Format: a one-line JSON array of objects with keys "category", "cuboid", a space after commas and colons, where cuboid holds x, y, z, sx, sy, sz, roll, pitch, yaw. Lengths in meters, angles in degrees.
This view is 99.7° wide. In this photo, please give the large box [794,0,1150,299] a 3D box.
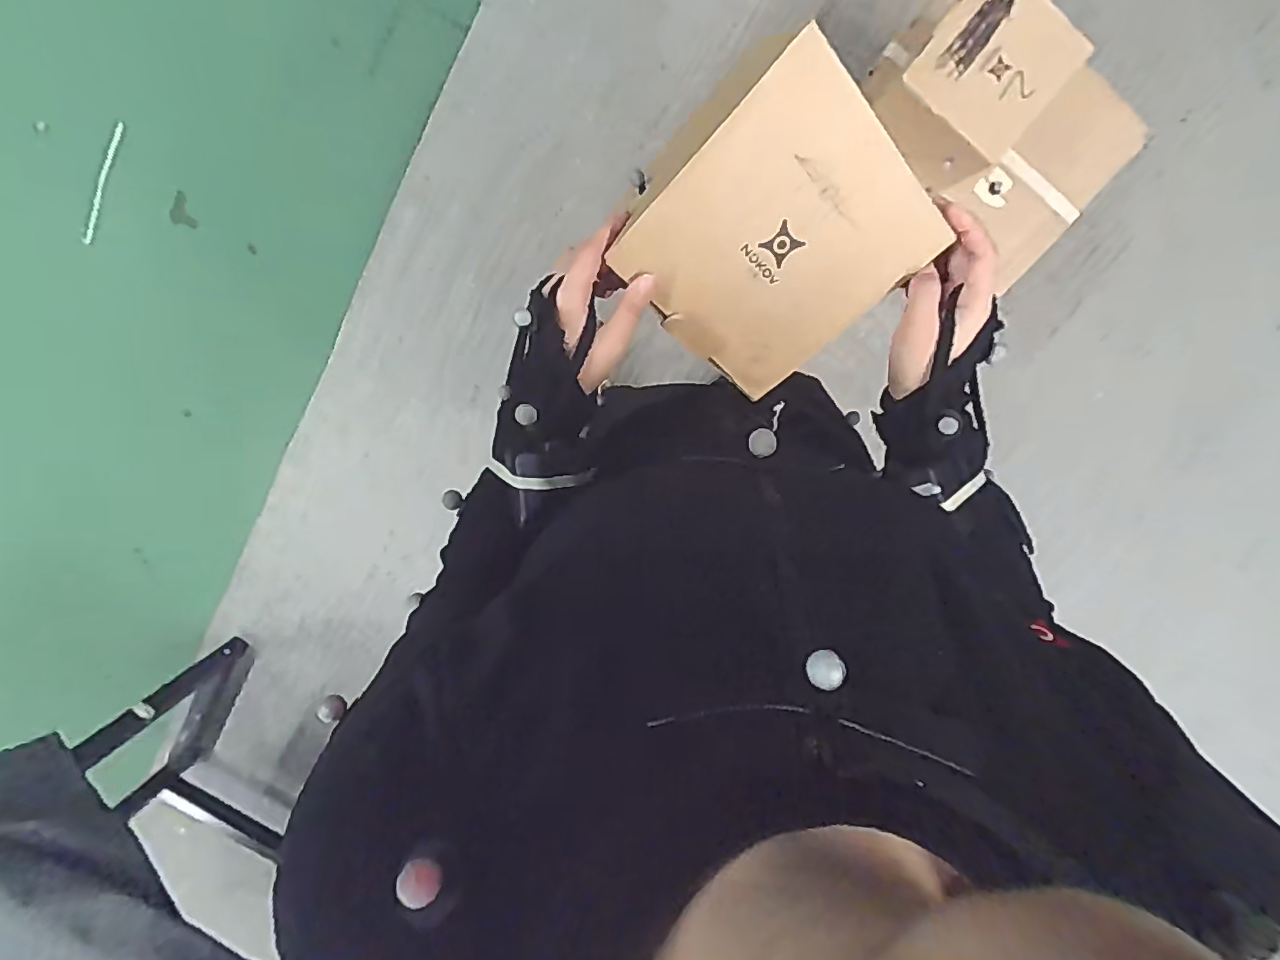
[{"category": "large box", "cuboid": [0.562, -0.591, 1.006, 0.408, 0.320, 0.320, 37, 107, -7]}]
